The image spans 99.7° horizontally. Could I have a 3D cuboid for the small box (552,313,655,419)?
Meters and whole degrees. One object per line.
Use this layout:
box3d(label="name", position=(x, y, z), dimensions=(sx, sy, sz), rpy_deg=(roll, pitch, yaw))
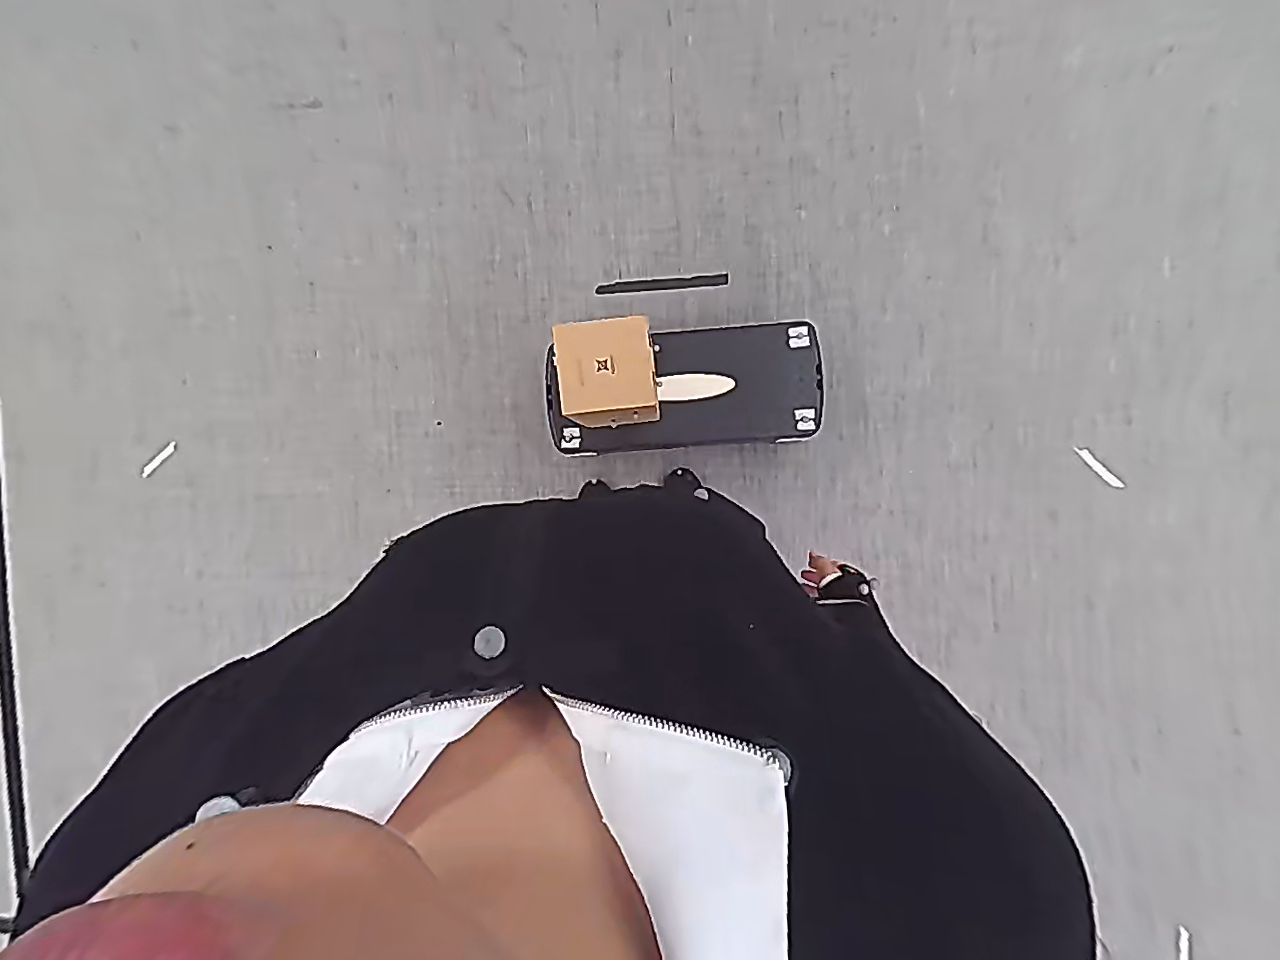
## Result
box3d(label="small box", position=(-0.064, -0.215, 1.060), dimensions=(0.179, 0.176, 0.168), rpy_deg=(-7, 91, 3))
